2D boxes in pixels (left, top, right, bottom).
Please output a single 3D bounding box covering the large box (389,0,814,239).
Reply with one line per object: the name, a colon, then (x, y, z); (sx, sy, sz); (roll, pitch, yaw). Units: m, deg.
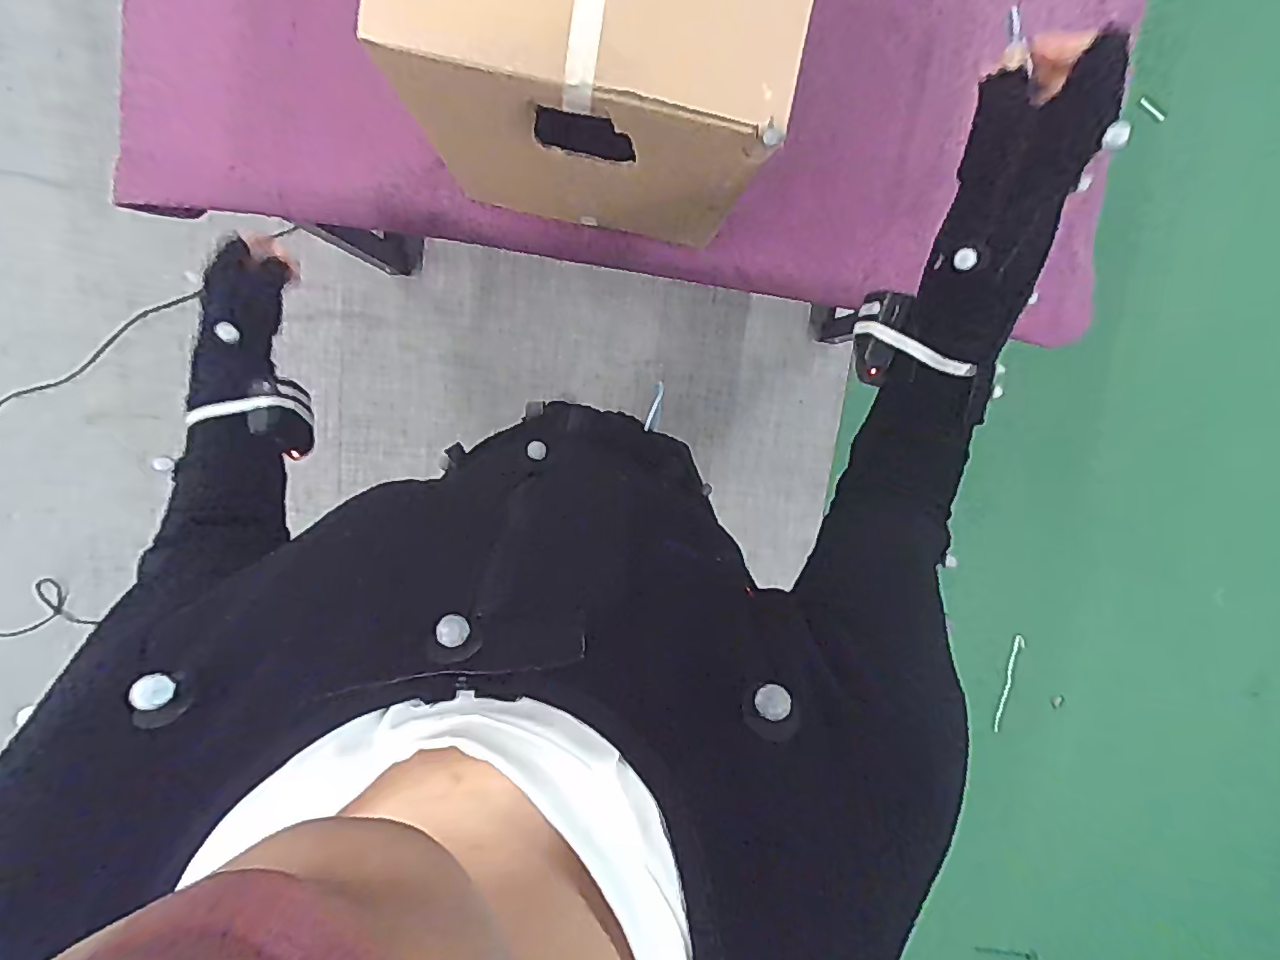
large box: (-0.013, -0.509, 0.524); (0.320, 0.320, 0.408); (10, 99, -5)
